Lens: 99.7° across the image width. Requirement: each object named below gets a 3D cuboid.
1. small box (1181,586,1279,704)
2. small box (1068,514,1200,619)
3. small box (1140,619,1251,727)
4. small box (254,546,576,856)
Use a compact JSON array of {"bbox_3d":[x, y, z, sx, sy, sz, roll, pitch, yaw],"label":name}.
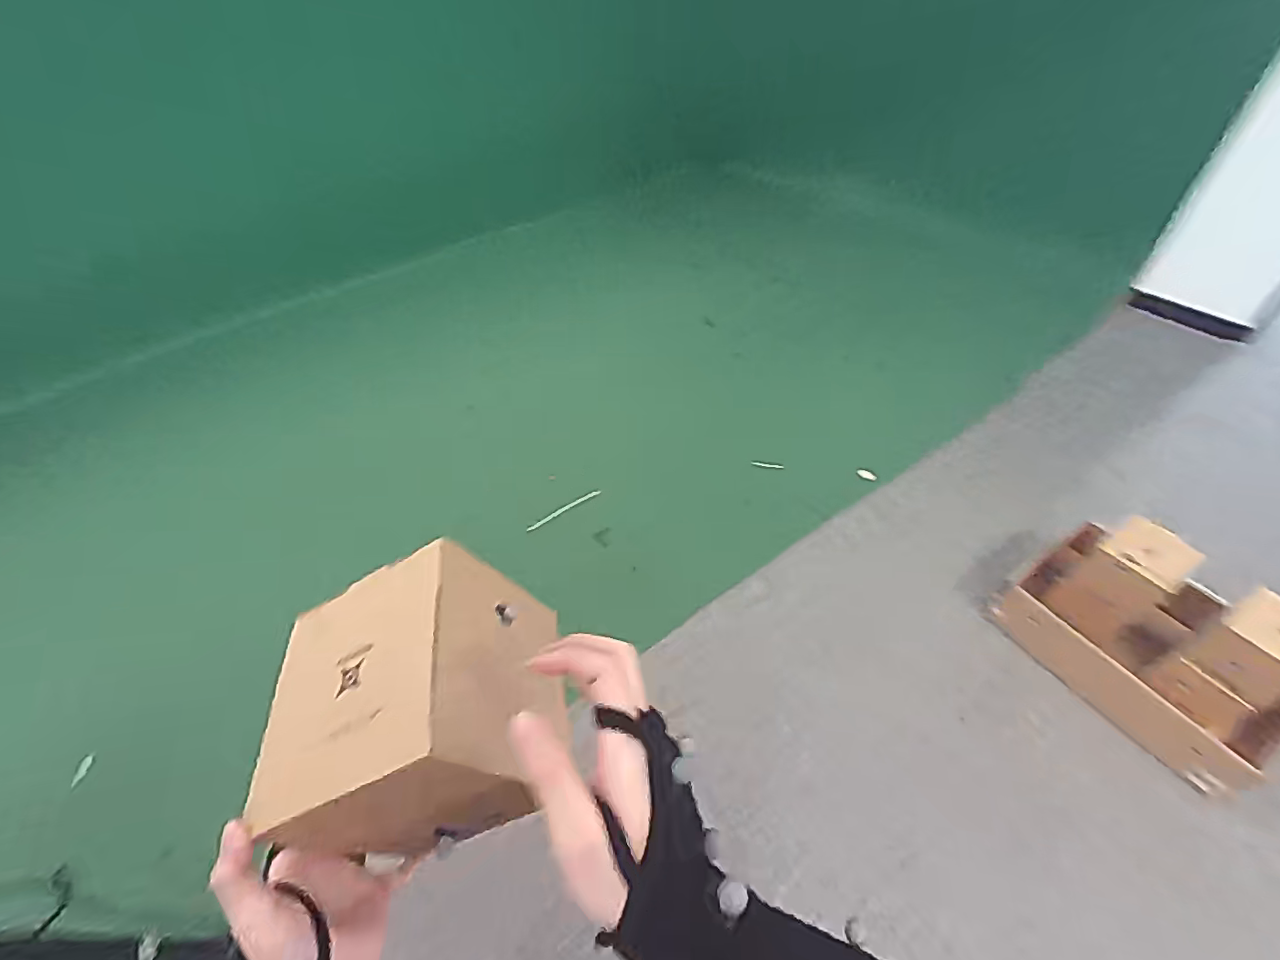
[{"bbox_3d":[1.438,0.389,1.264,0.179,0.176,0.168,-27,51,-17],"label":"small box"},{"bbox_3d":[1.282,0.229,1.419,0.179,0.176,0.168,-29,52,-18],"label":"small box"},{"bbox_3d":[1.450,0.498,1.387,0.179,0.176,0.168,-28,51,-17],"label":"small box"},{"bbox_3d":[-0.172,0.194,0.466,0.168,0.176,0.179,-27,45,12],"label":"small box"}]
